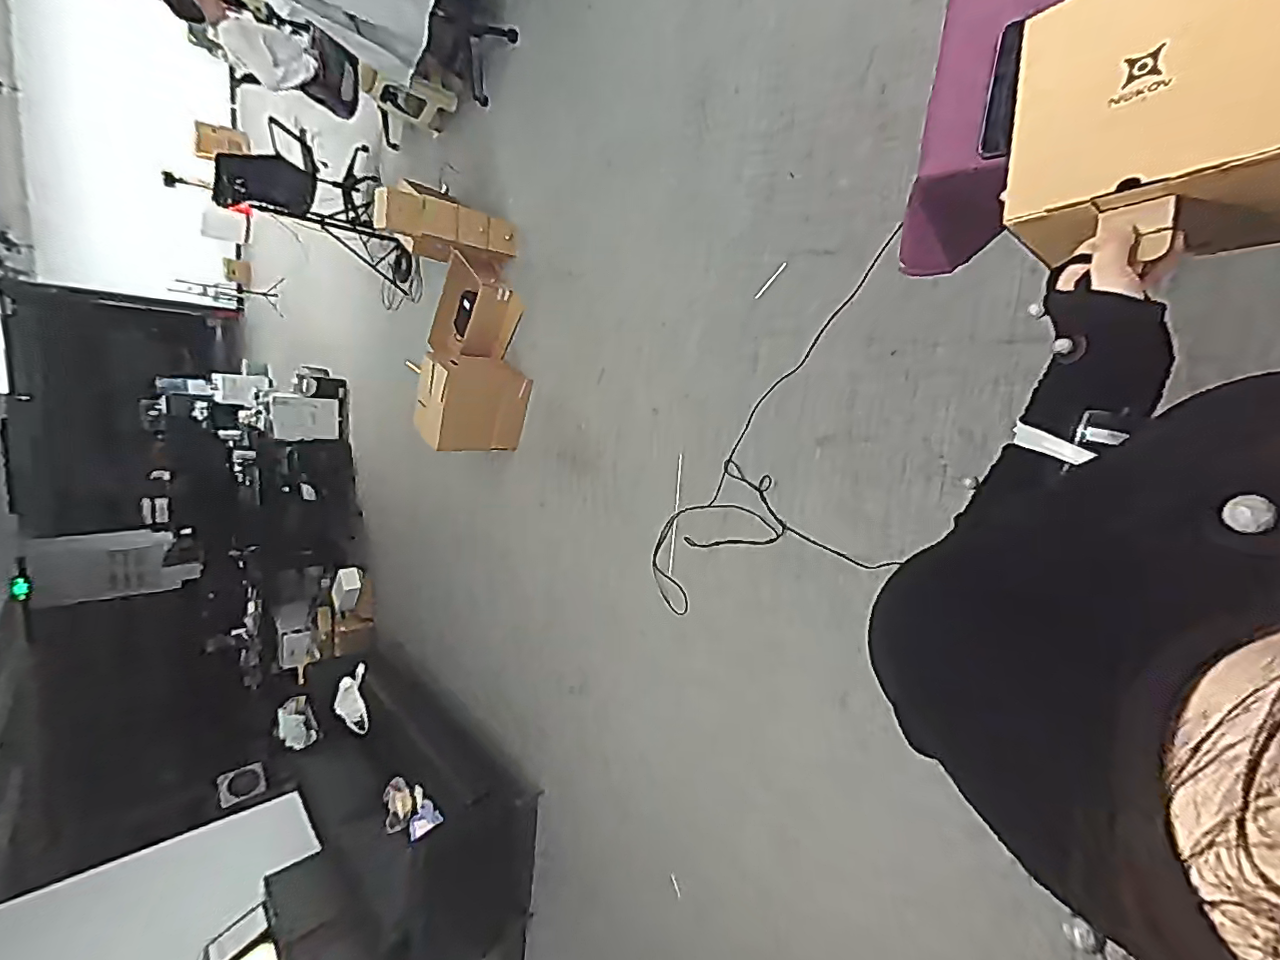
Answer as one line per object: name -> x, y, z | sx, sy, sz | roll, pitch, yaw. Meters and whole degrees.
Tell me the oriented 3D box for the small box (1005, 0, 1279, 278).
small box -> 0.438, -0.293, 0.453 | 0.168, 0.176, 0.179 | 8, 93, 52
